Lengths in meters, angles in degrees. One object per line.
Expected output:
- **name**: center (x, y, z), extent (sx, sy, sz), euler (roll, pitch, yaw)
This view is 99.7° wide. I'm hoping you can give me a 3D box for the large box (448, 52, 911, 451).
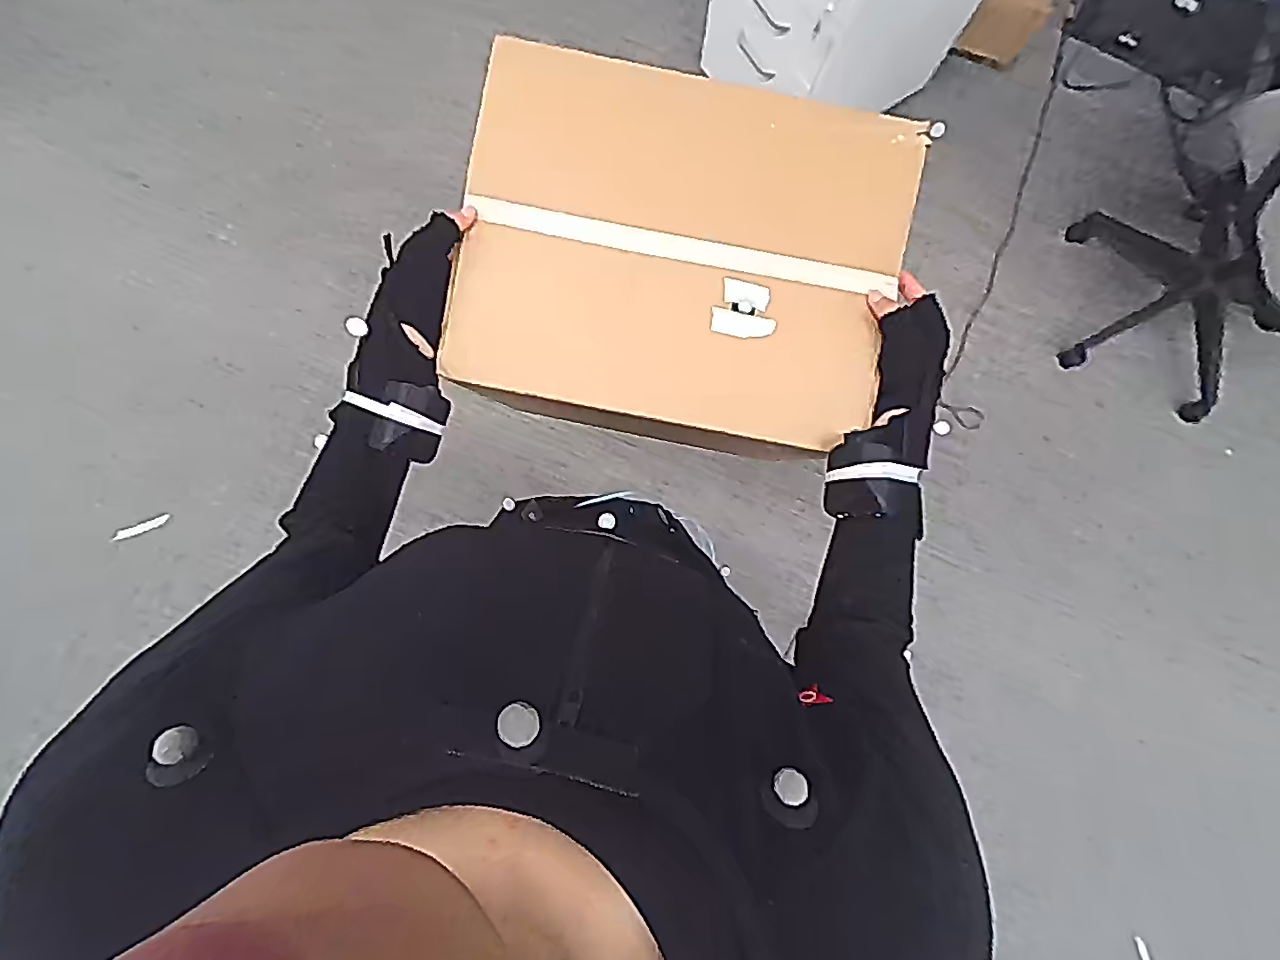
- **large box**: center (0.032, -0.221, 0.659), extent (0.408, 0.320, 0.320), euler (11, 93, -1)
